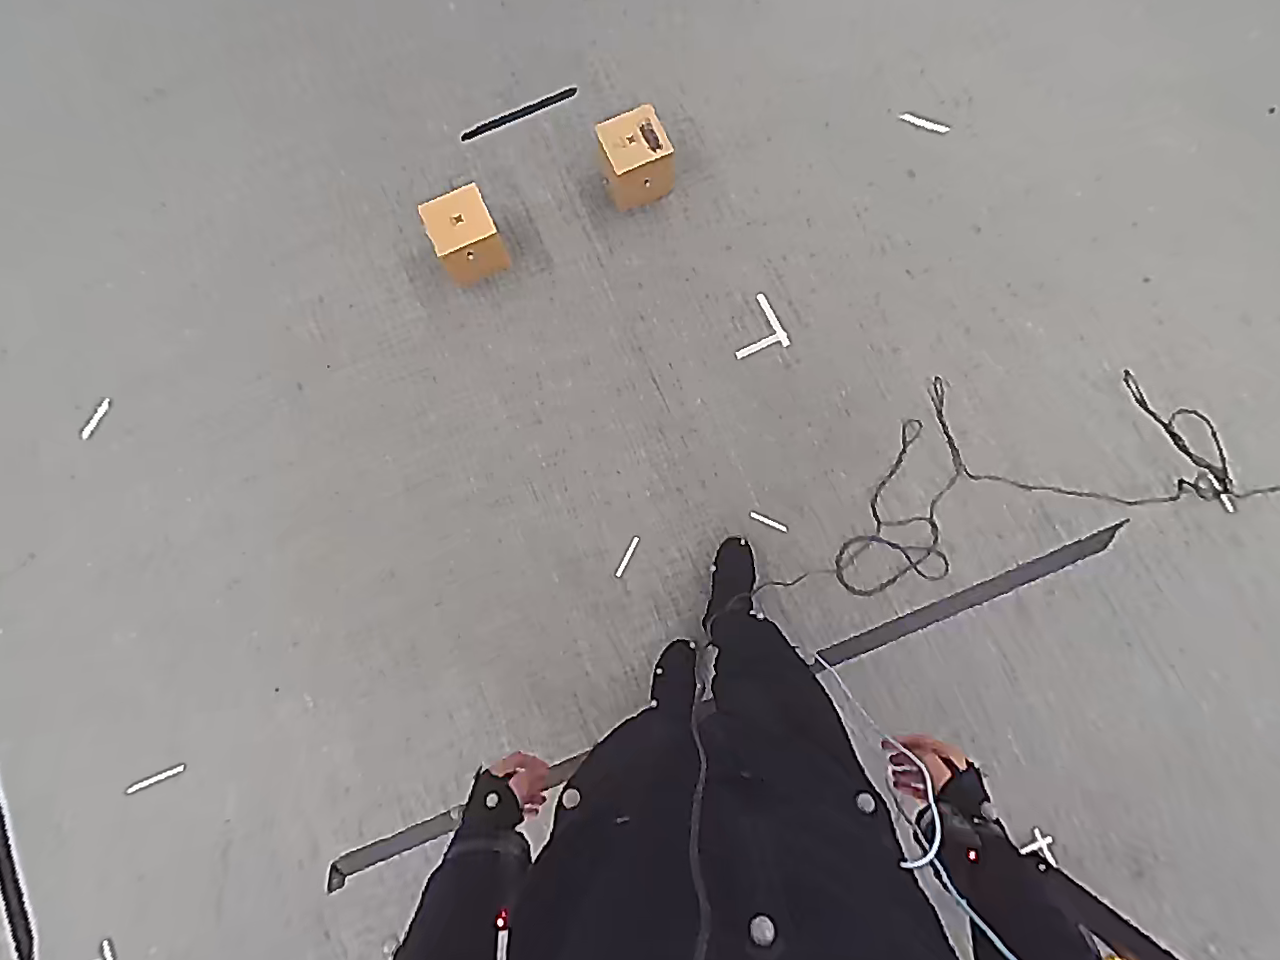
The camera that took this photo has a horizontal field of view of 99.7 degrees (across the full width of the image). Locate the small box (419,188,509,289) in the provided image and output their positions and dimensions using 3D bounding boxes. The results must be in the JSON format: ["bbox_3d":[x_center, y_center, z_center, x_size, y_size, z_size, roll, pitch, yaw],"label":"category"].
[{"bbox_3d":[-0.490,-0.680,1.538,0.179,0.176,0.168,-24,82,-1],"label":"small box"}]
